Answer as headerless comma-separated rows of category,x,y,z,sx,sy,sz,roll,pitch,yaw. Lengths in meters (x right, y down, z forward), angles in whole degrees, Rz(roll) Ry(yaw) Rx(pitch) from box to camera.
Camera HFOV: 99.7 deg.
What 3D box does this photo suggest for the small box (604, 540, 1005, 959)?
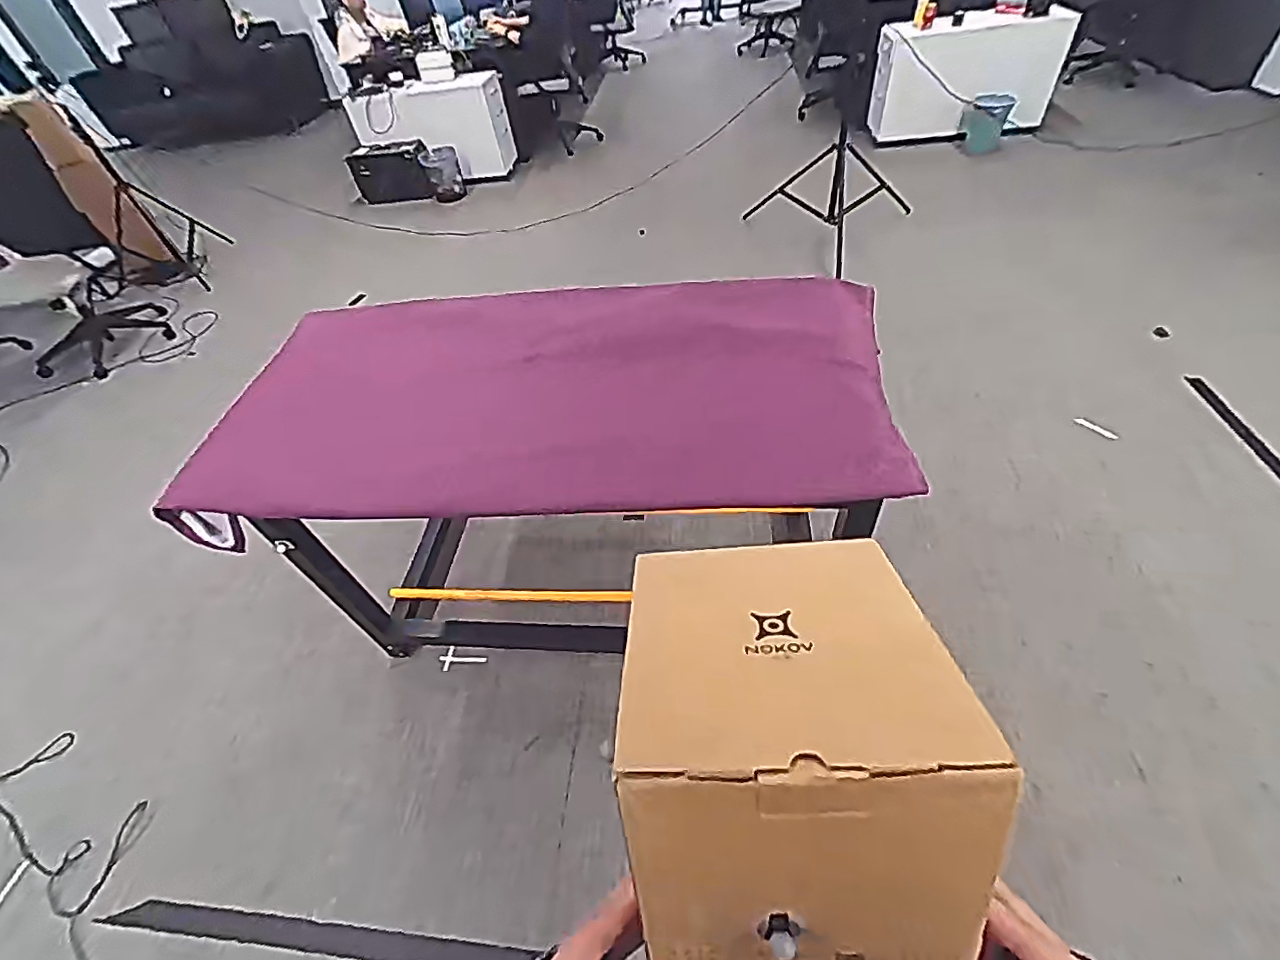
small box,0.078,0.157,0.330,0.168,0.176,0.179,-6,25,5
